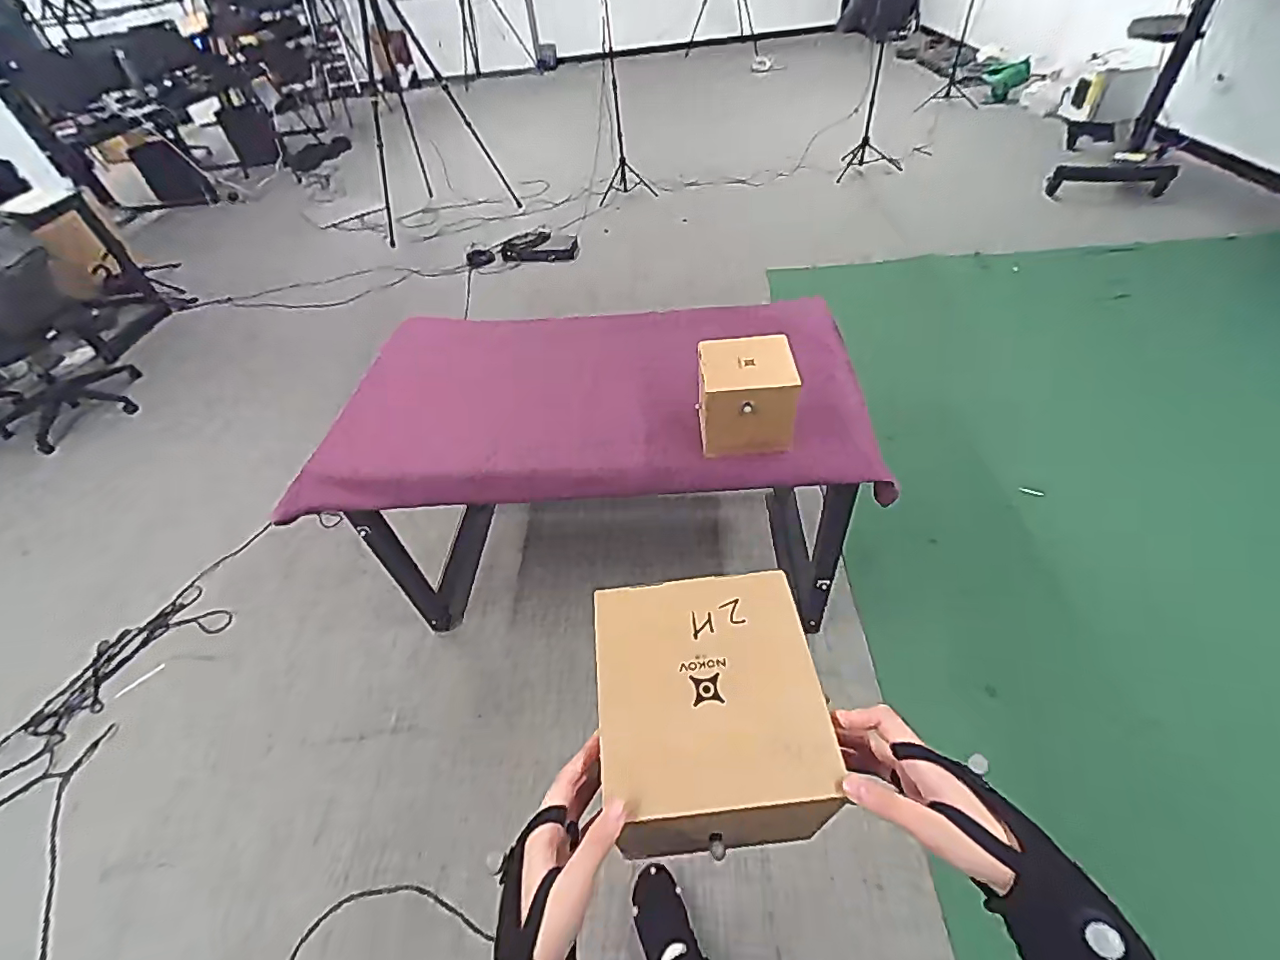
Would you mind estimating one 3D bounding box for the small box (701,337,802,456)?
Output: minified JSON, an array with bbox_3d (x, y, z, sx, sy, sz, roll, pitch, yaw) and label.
[{"bbox_3d":[0.215,-0.164,1.086,0.179,0.176,0.168,-4,47,5],"label":"small box"}]
